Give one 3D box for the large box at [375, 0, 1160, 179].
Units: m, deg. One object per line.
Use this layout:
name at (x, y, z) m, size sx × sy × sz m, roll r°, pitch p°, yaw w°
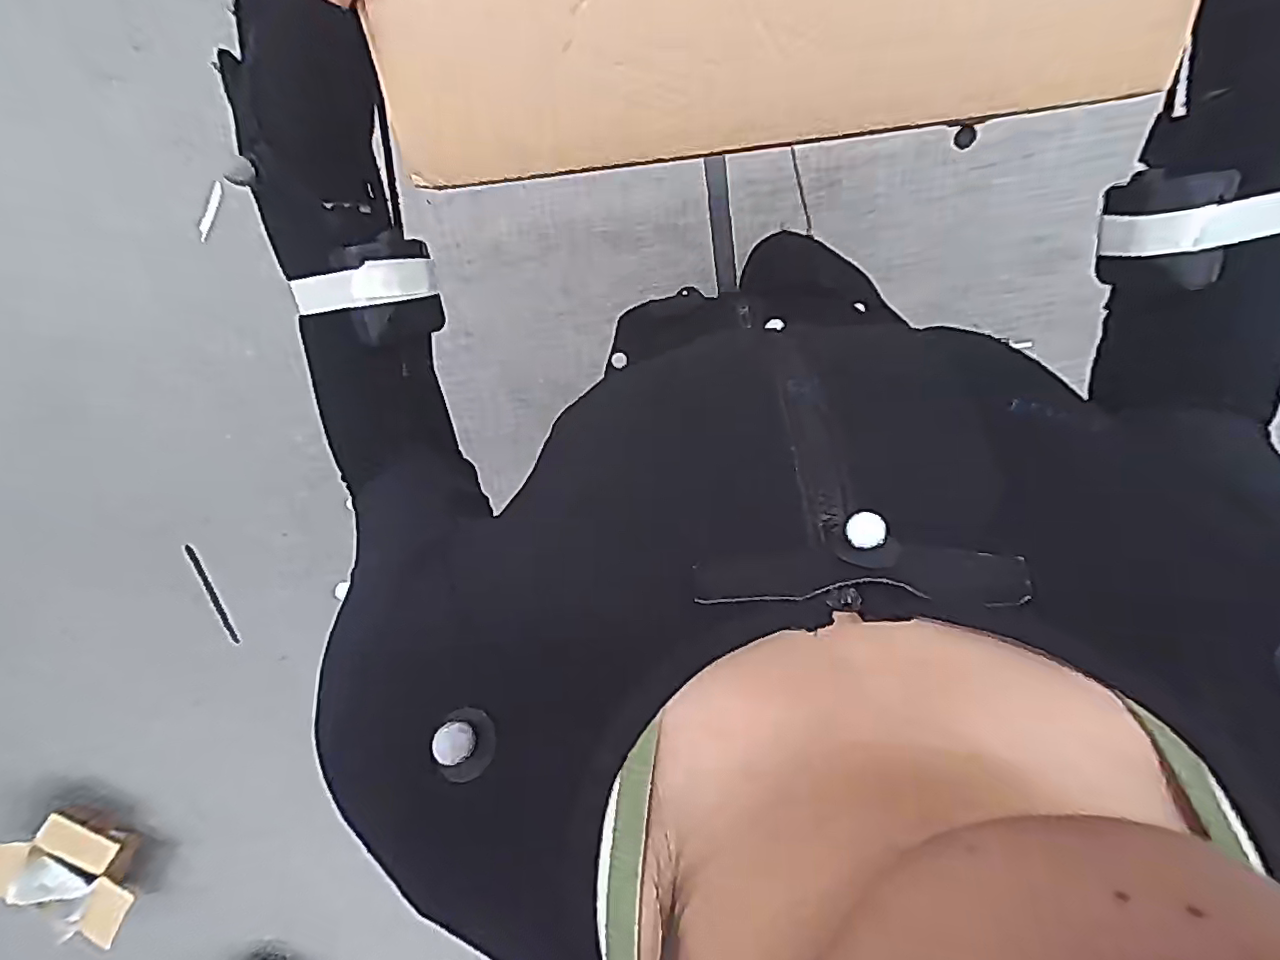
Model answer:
large box at (0.057, -0.405, 0.347) m, size 0.408 × 0.320 × 0.320 m, roll -4°, pitch 122°, yaw 4°
